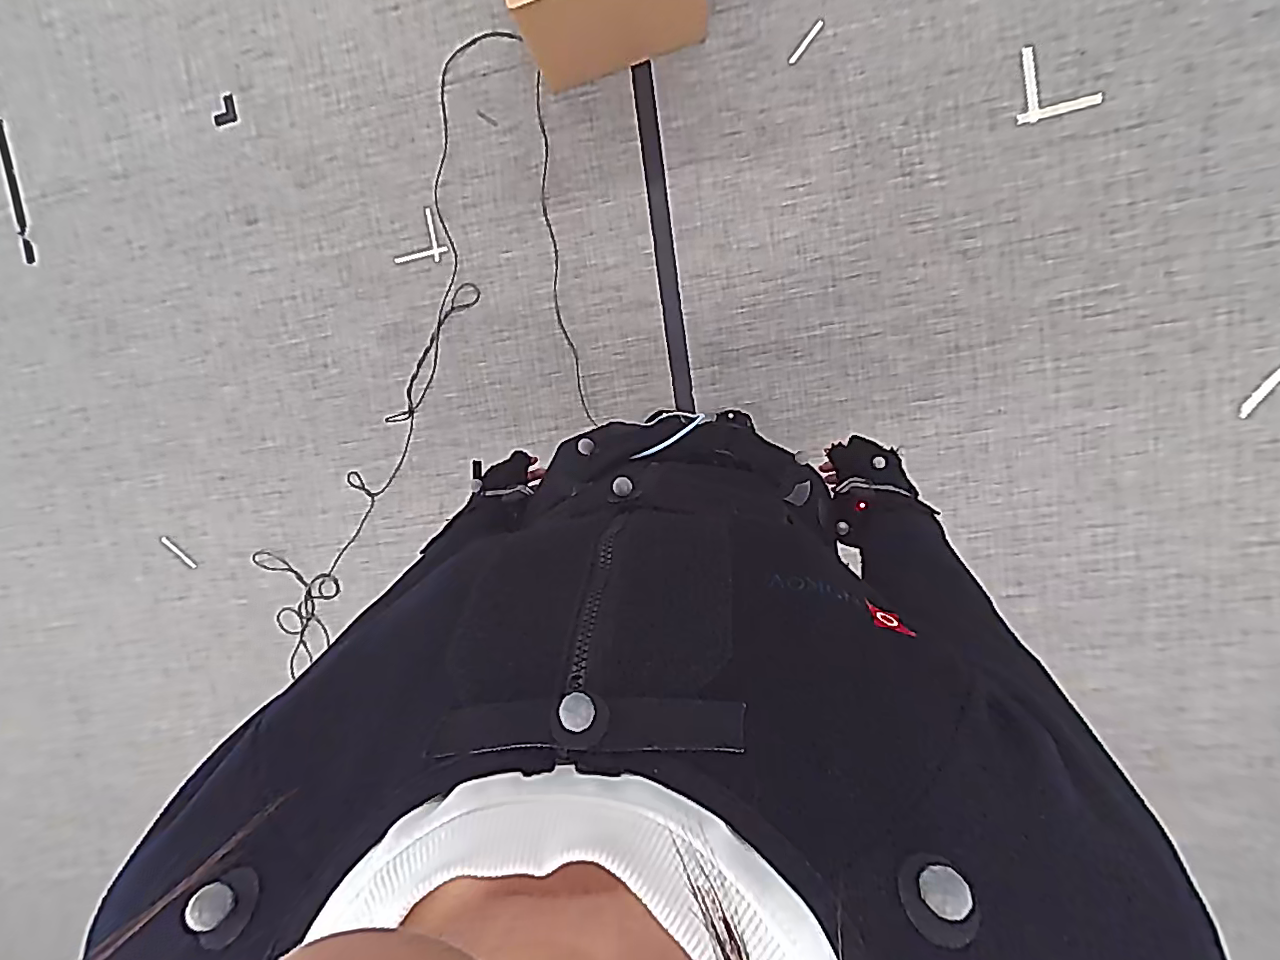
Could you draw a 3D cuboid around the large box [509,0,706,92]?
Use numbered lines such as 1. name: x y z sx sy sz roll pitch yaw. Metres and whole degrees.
1. large box: -0.089 -1.135 1.157 0.408 0.320 0.320 -14 97 8
